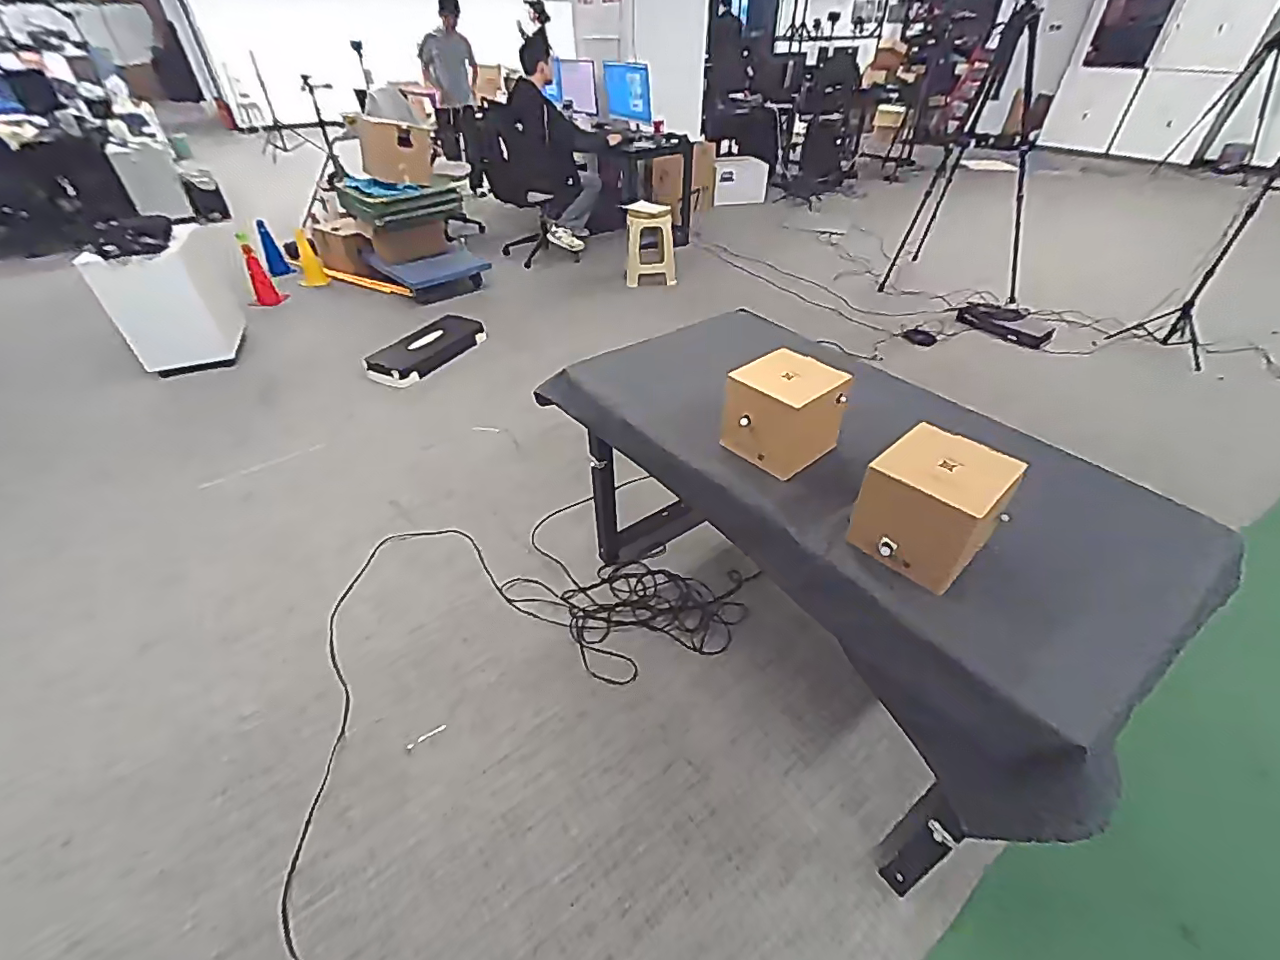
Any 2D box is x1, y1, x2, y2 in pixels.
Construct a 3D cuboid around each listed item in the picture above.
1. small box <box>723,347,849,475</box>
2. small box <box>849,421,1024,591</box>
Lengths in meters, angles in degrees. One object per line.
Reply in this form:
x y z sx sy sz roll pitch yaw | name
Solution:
0.278 -0.136 1.065 0.179 0.176 0.168 -30 48 -31 | small box
0.458 0.038 0.857 0.179 0.176 0.168 -32 48 -31 | small box
